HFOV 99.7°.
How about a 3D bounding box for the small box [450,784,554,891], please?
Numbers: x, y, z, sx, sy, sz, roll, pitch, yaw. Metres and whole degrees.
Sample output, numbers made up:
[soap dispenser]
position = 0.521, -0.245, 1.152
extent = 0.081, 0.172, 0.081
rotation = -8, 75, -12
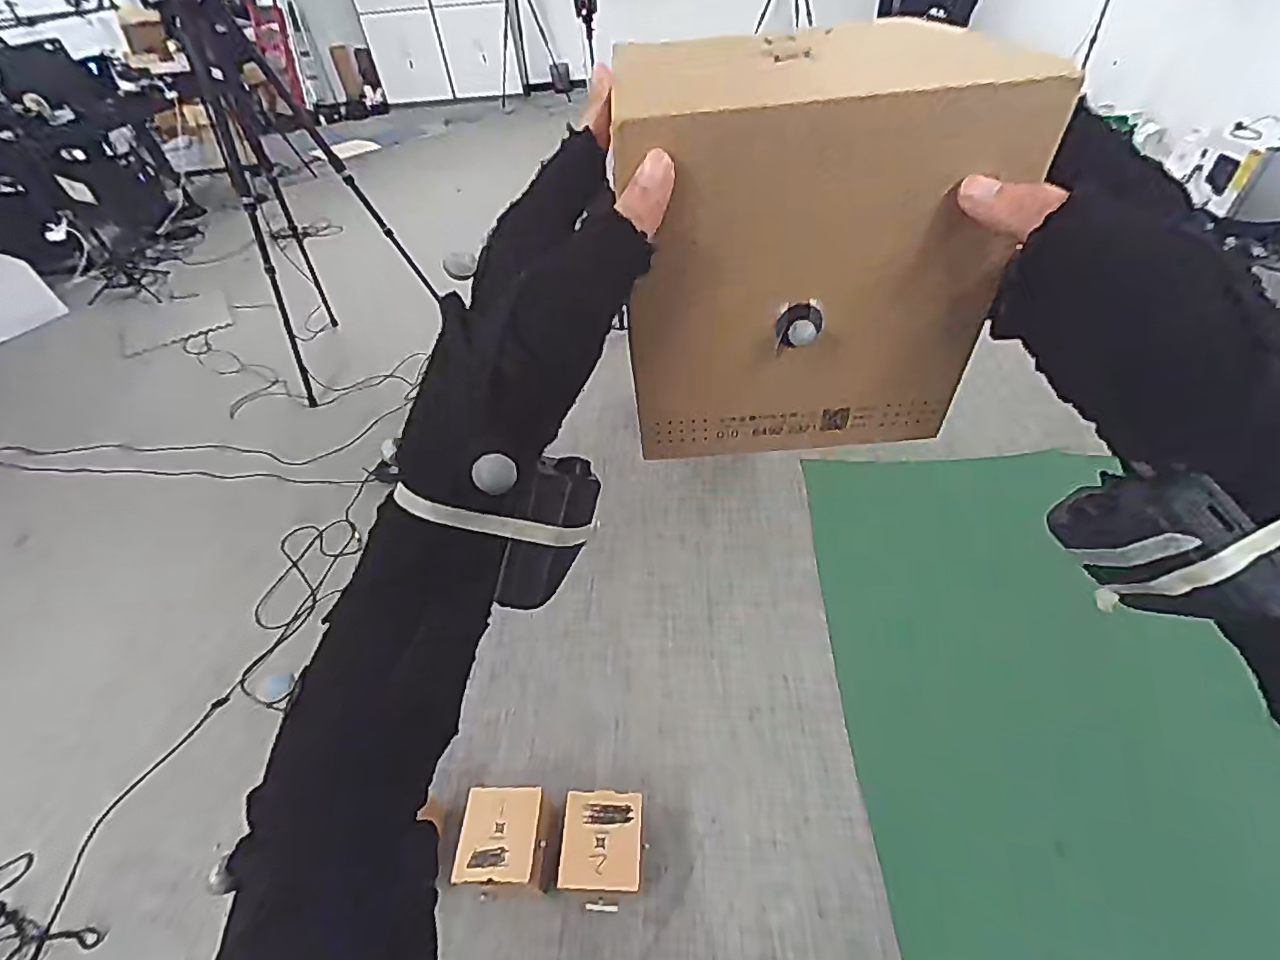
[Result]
[small box]
position = -0.297, 0.800, 1.207
extent = 0.168, 0.176, 0.179
rotation = -3, 44, 5
